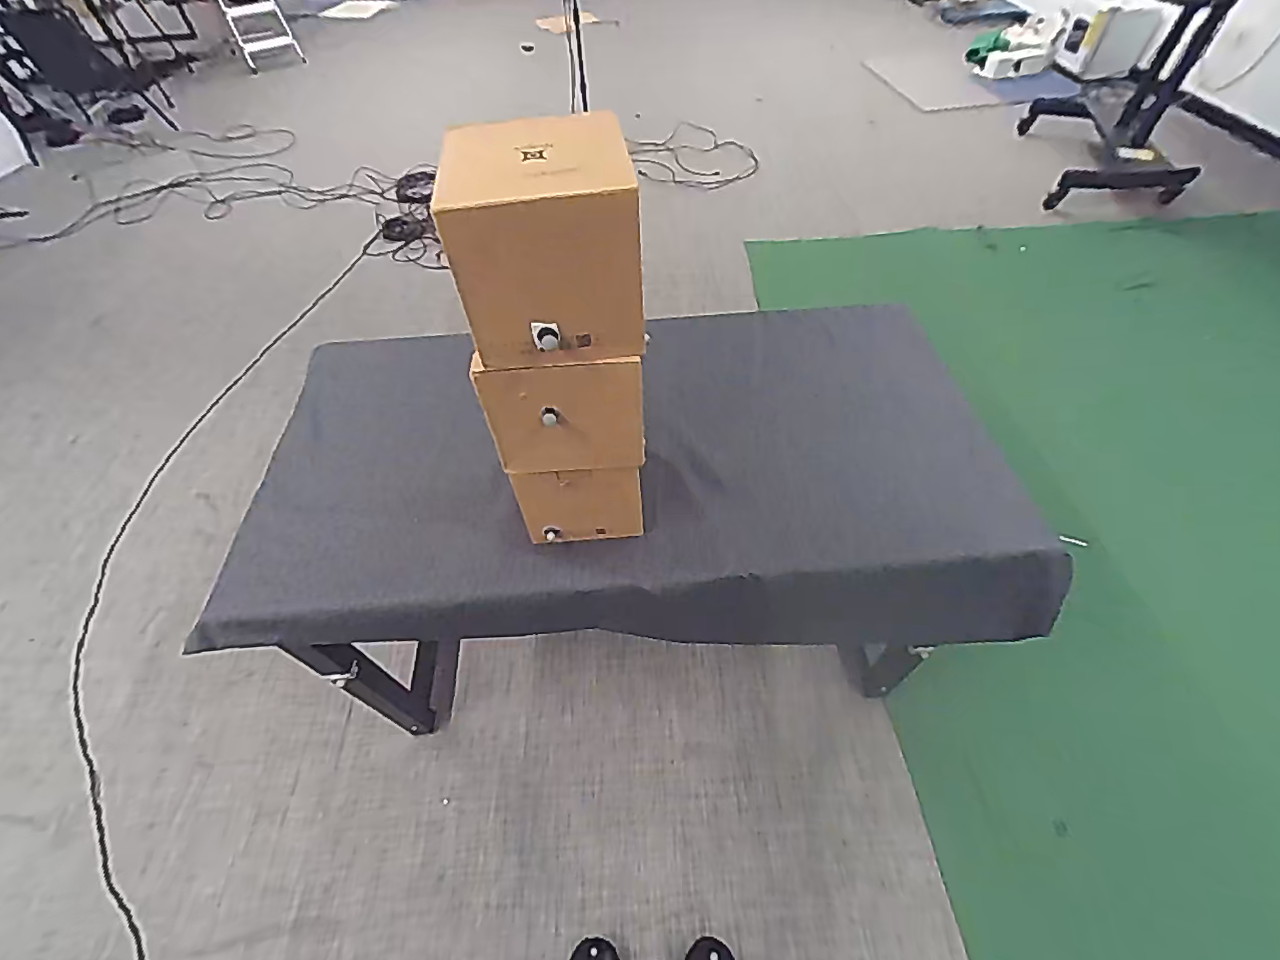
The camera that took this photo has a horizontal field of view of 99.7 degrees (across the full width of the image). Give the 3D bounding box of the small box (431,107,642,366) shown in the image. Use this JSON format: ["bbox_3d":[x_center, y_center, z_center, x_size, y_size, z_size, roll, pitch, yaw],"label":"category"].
[{"bbox_3d":[-0.093,-0.241,0.542,0.168,0.176,0.179,-9,53,-3],"label":"small box"}]

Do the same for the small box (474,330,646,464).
[{"bbox_3d":[-0.090,-0.135,0.670,0.179,0.176,0.168,-6,50,-3],"label":"small box"}]

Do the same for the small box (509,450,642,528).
[{"bbox_3d":[-0.087,-0.041,0.800,0.168,0.176,0.179,-5,51,-1],"label":"small box"}]
